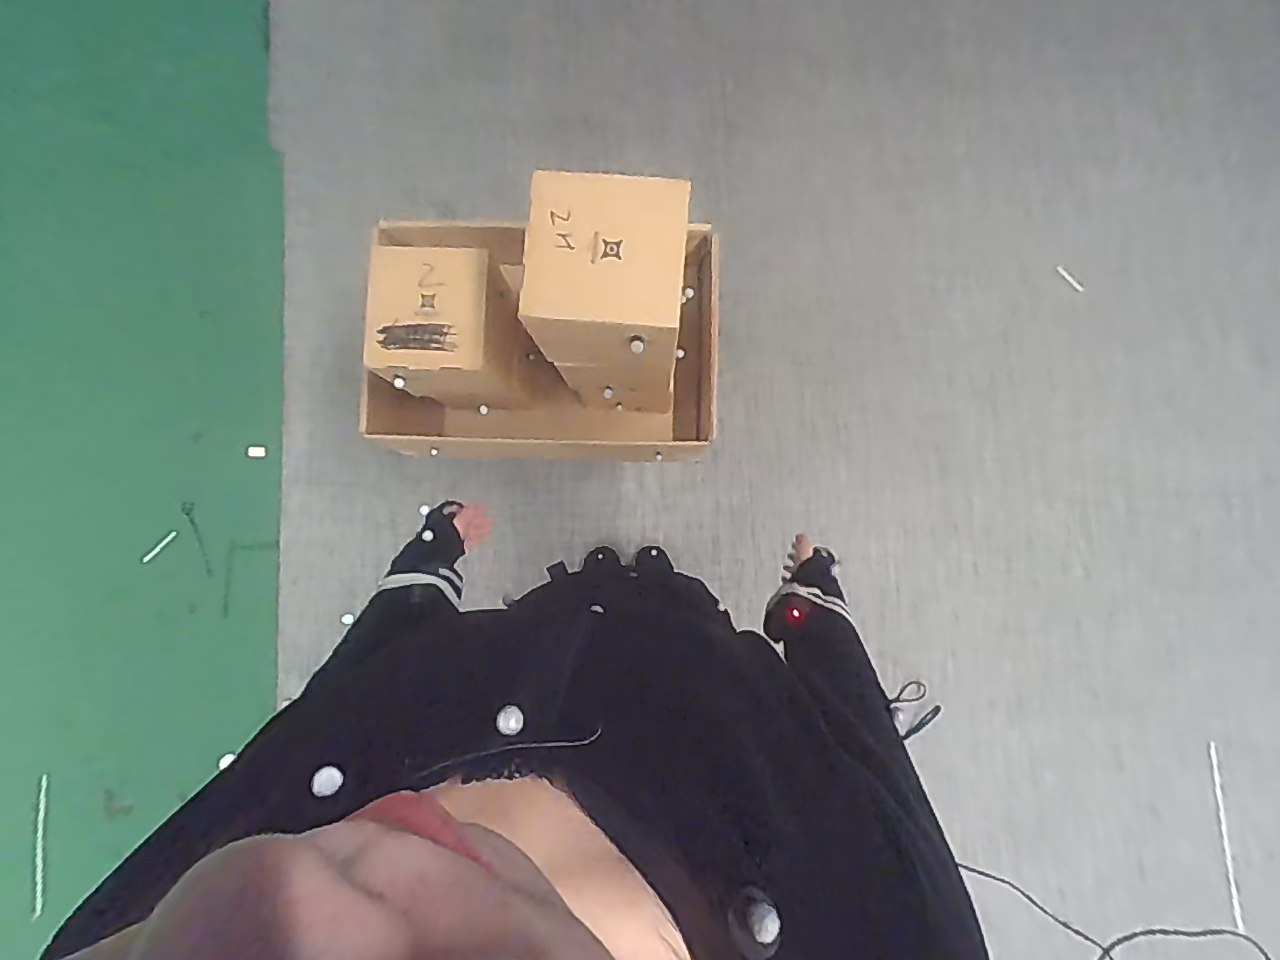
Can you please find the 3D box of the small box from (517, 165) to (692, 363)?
[{"bbox_3d":[-0.035,-0.248,0.660,0.179,0.176,0.168,6,86,3],"label":"small box"}]

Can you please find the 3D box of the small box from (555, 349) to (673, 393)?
[{"bbox_3d":[-0.029,-0.242,0.824,0.168,0.176,0.179,4,87,3],"label":"small box"}]
